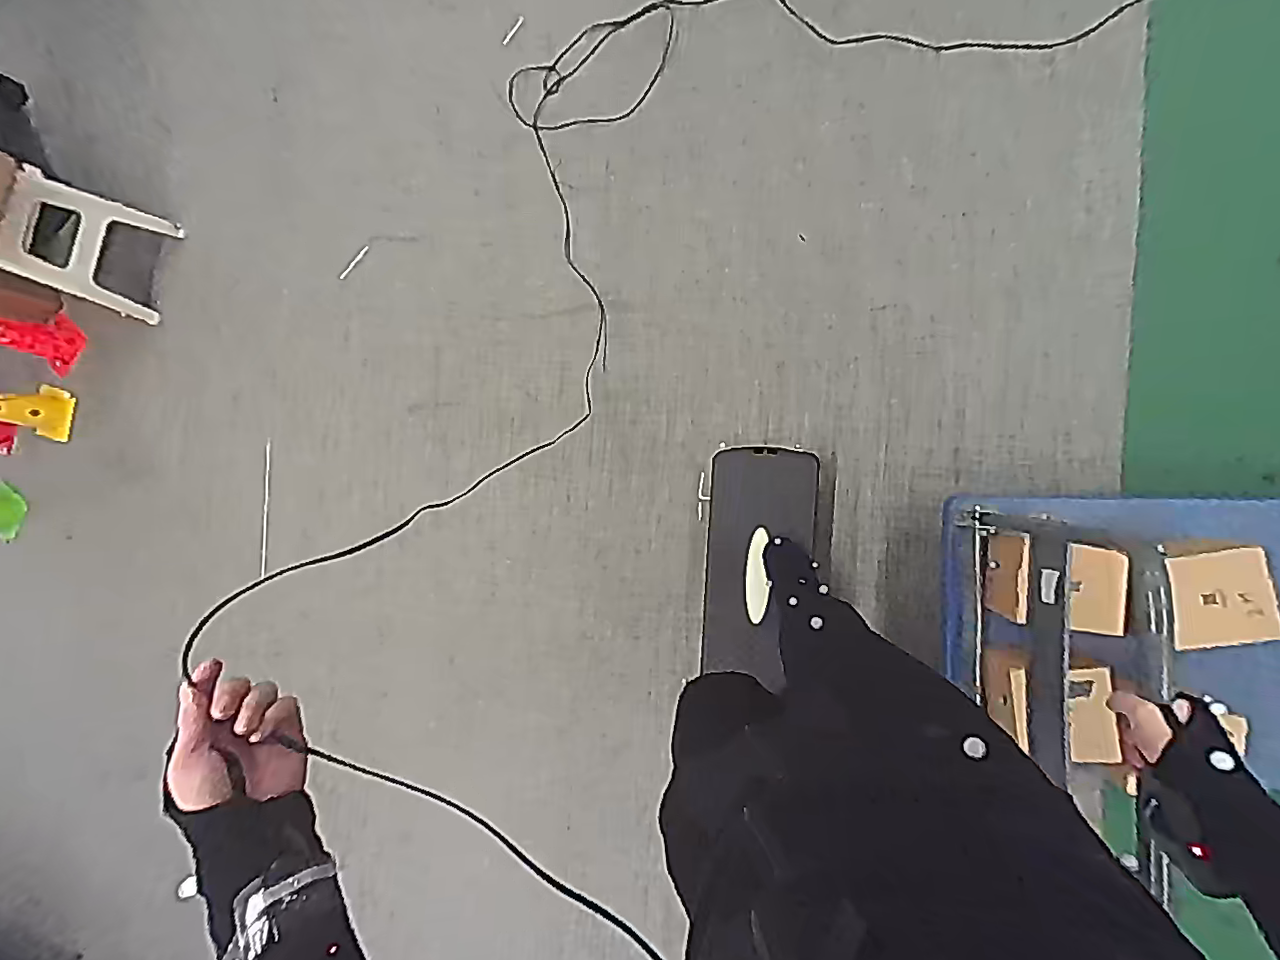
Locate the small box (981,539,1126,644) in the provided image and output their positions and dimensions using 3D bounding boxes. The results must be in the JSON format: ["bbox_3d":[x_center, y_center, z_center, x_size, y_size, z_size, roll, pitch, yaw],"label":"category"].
[{"bbox_3d":[0.820,0.214,1.088,0.179,0.176,0.168,5,90,15],"label":"small box"}]

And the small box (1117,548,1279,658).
[{"bbox_3d":[1.027,0.228,1.032,0.179,0.176,0.168,-11,86,14],"label":"small box"}]
